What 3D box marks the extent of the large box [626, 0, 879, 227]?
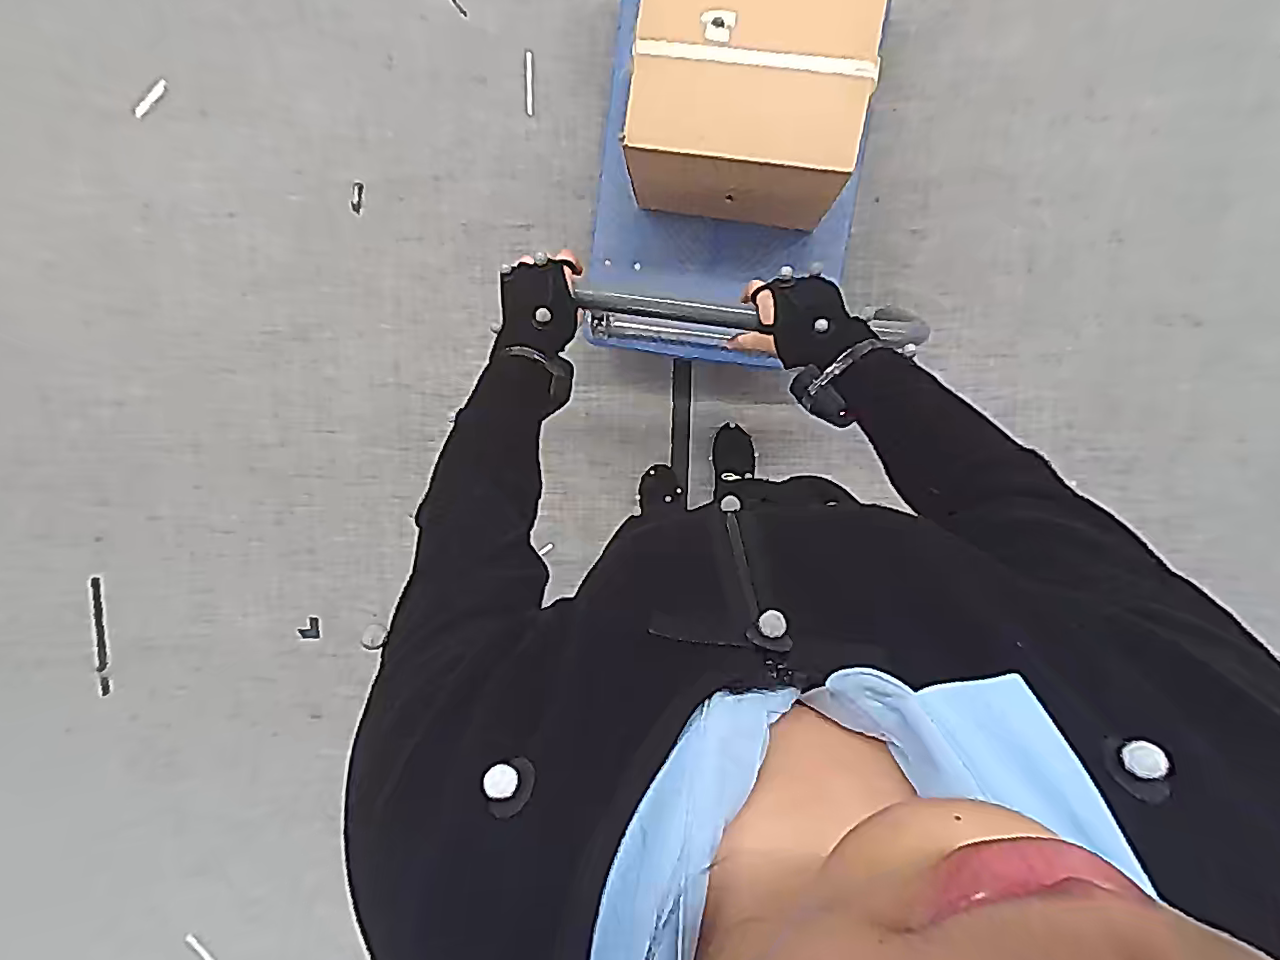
[{"bbox_3d":[0.207,-0.729,1.081,0.408,0.320,0.320,9,97,5],"label":"large box"}]
